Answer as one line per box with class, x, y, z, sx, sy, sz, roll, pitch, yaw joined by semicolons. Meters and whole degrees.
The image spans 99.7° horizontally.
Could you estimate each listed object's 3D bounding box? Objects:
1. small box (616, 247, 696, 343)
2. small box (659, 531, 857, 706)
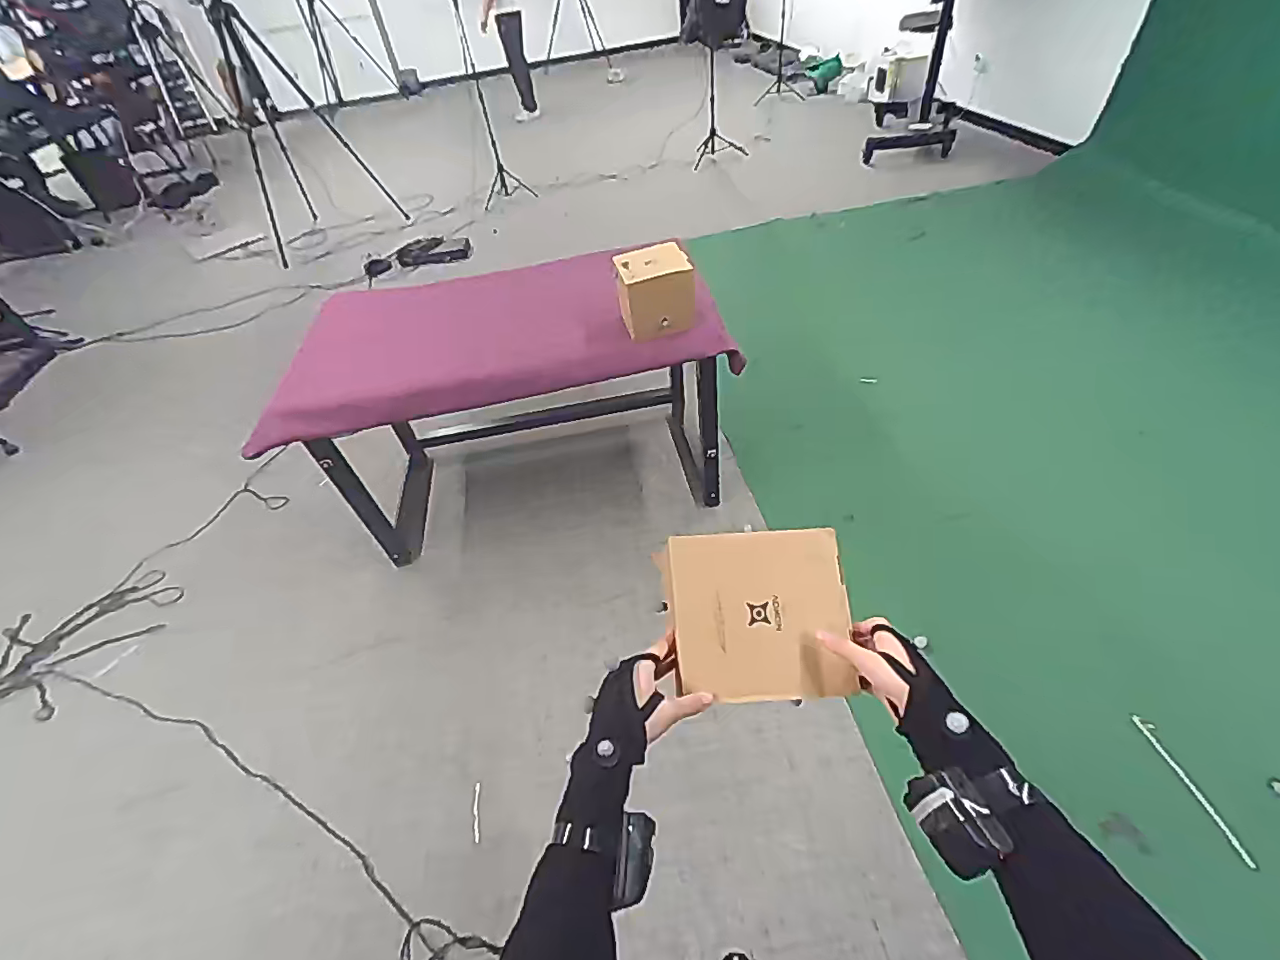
small box;0.045;-0.488;1.431;0.179;0.176;0.168;-14;46;-4
small box;0.117;0.155;0.611;0.179;0.176;0.168;-2;73;-2
